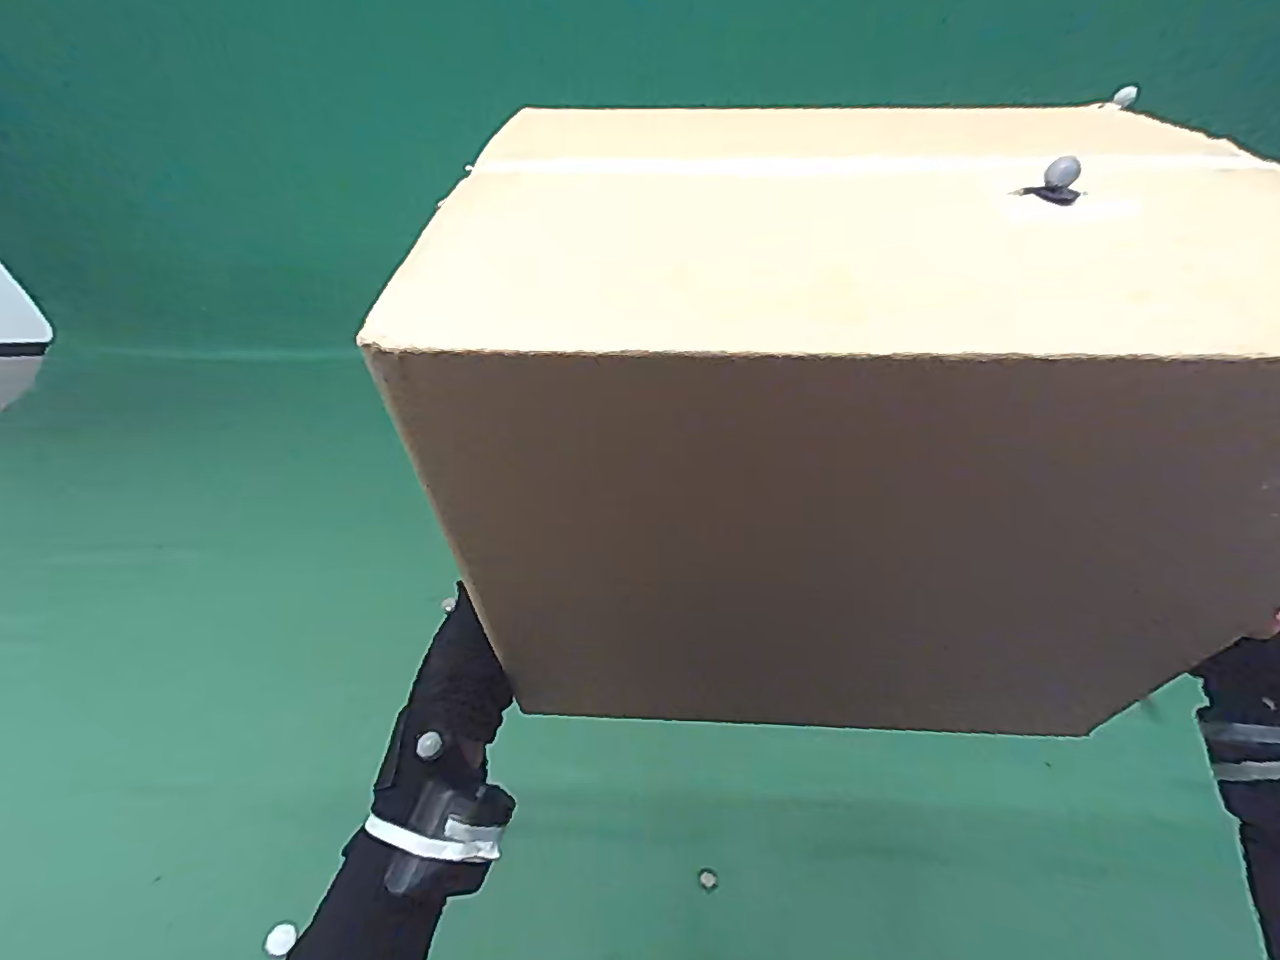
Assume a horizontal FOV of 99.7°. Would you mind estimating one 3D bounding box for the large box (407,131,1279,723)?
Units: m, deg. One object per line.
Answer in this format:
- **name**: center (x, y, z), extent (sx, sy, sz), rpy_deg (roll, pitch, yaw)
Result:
- **large box**: center (0.118, -0.040, 0.393), extent (0.408, 0.320, 0.320), rpy_deg (2, 46, 2)
